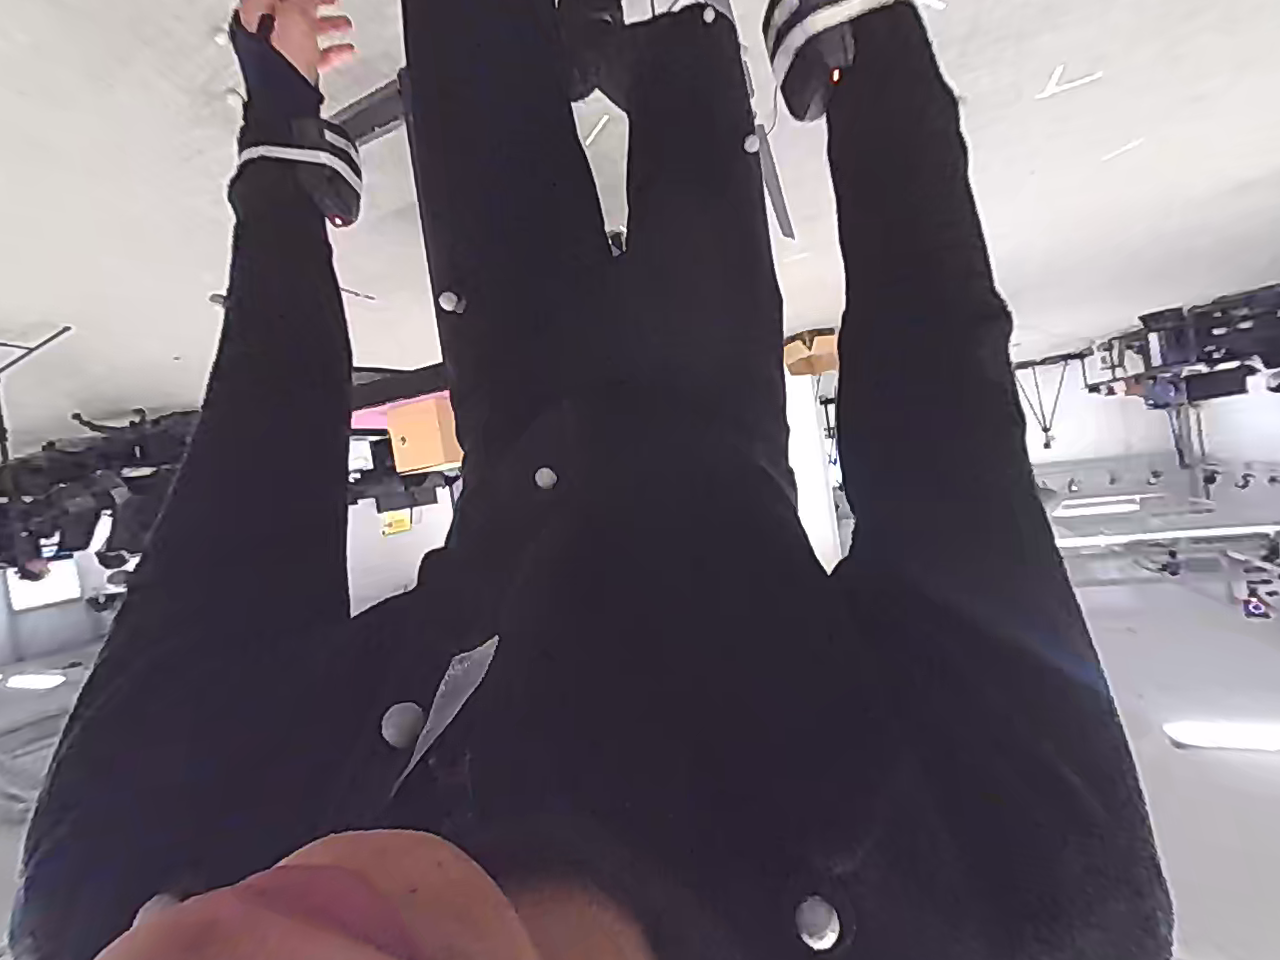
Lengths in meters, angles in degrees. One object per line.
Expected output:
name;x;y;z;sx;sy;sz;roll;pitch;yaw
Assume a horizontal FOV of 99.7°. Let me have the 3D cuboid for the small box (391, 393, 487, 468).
small box;-0.534;-0.130;1.433;0.179;0.176;0.168;-7;-177;26
